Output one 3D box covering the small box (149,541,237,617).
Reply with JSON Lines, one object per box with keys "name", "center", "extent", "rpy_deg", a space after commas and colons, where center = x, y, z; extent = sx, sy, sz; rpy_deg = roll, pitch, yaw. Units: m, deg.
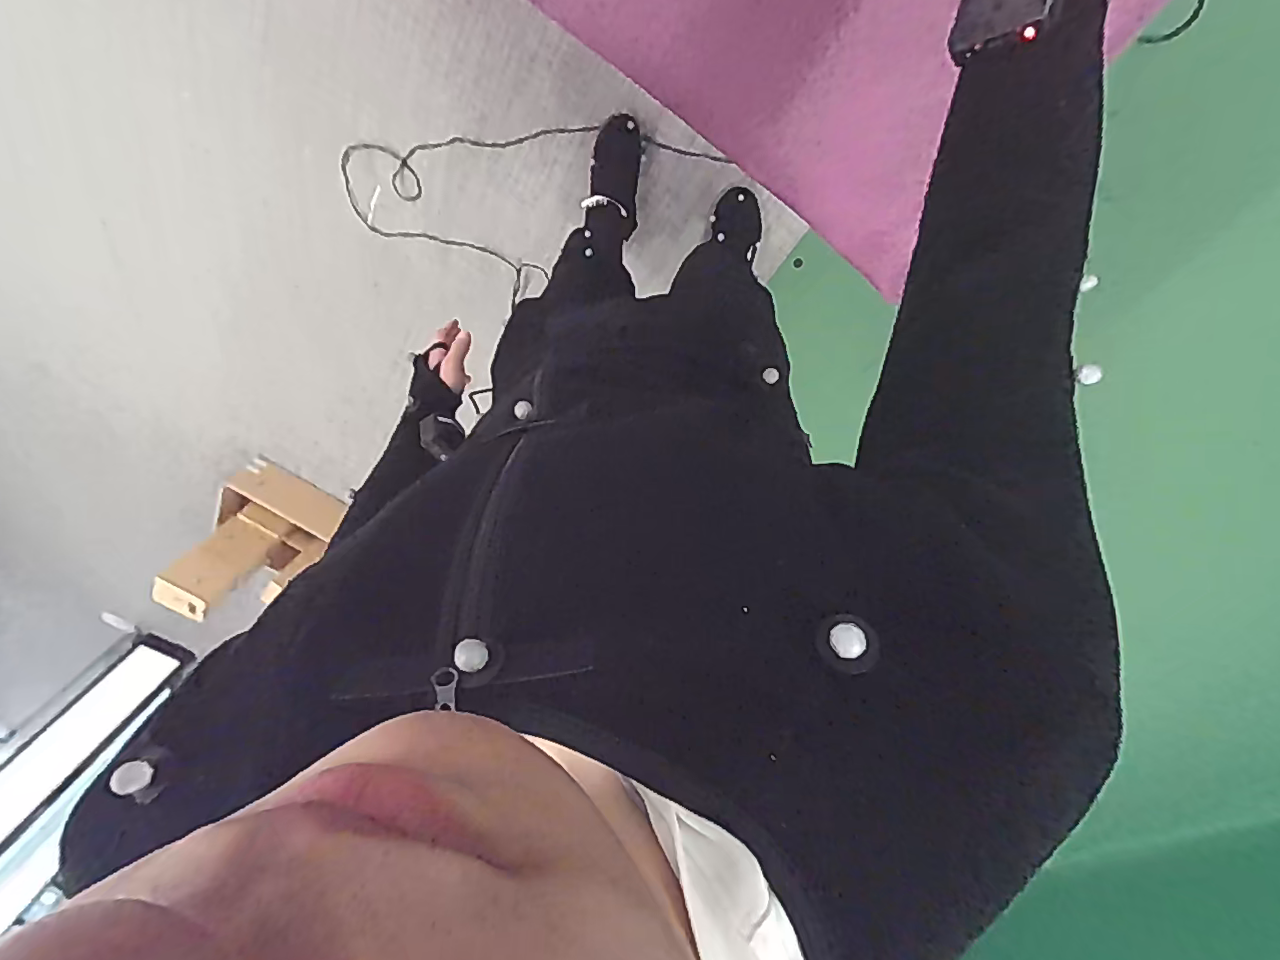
{"name": "small box", "center": [-1.587, 0.349, 1.925], "extent": [0.179, 0.176, 0.168], "rpy_deg": [35, 125, -13]}
